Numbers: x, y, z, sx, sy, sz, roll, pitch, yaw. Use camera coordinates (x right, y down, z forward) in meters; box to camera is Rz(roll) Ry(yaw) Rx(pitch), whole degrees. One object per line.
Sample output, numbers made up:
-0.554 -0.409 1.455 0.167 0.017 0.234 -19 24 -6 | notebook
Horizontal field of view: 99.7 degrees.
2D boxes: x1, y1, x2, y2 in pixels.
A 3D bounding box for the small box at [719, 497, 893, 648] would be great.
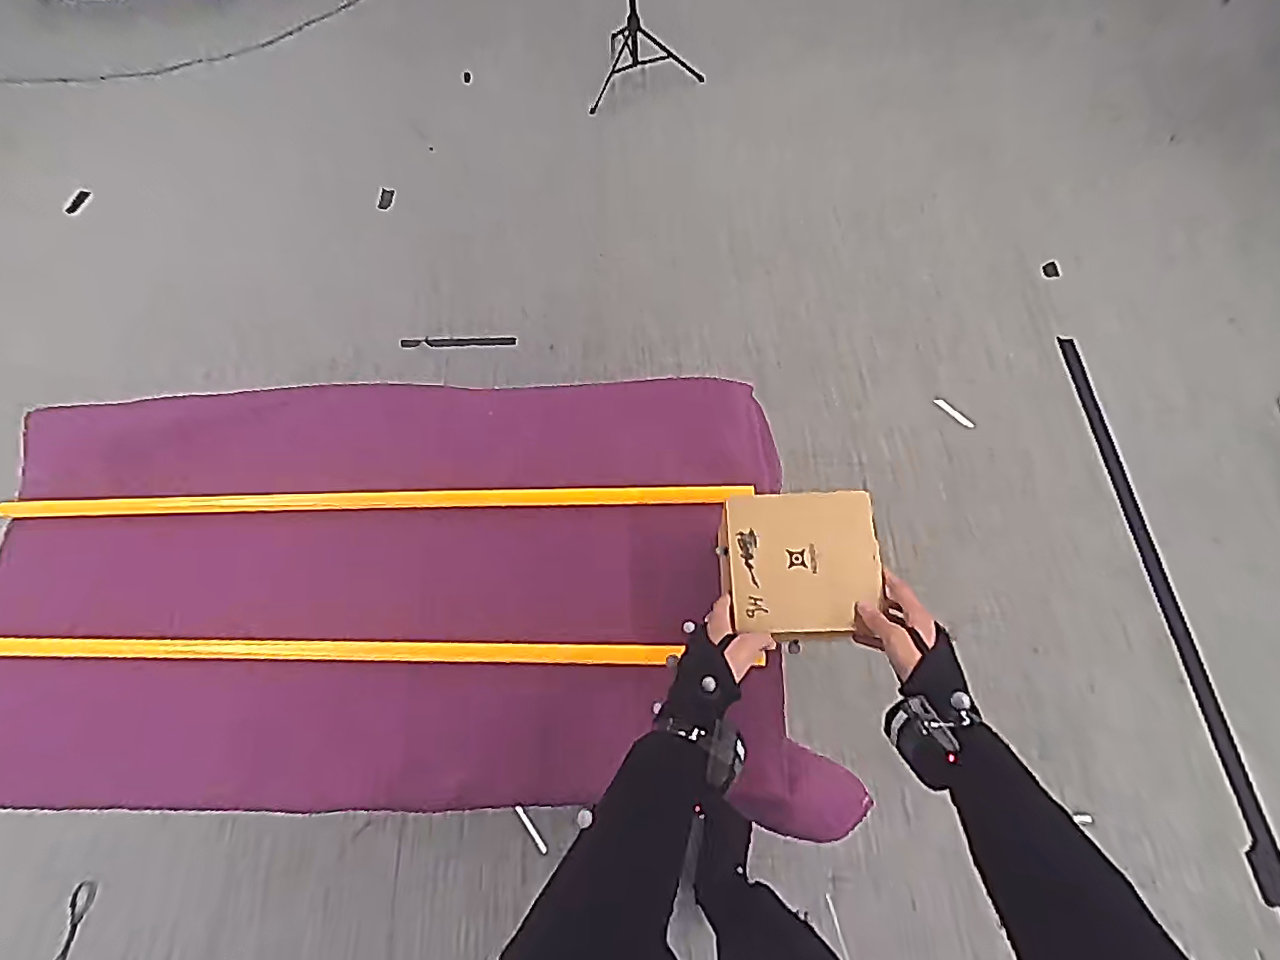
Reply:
0.199 0.126 0.702 0.179 0.176 0.168 -2 69 4 | small box
